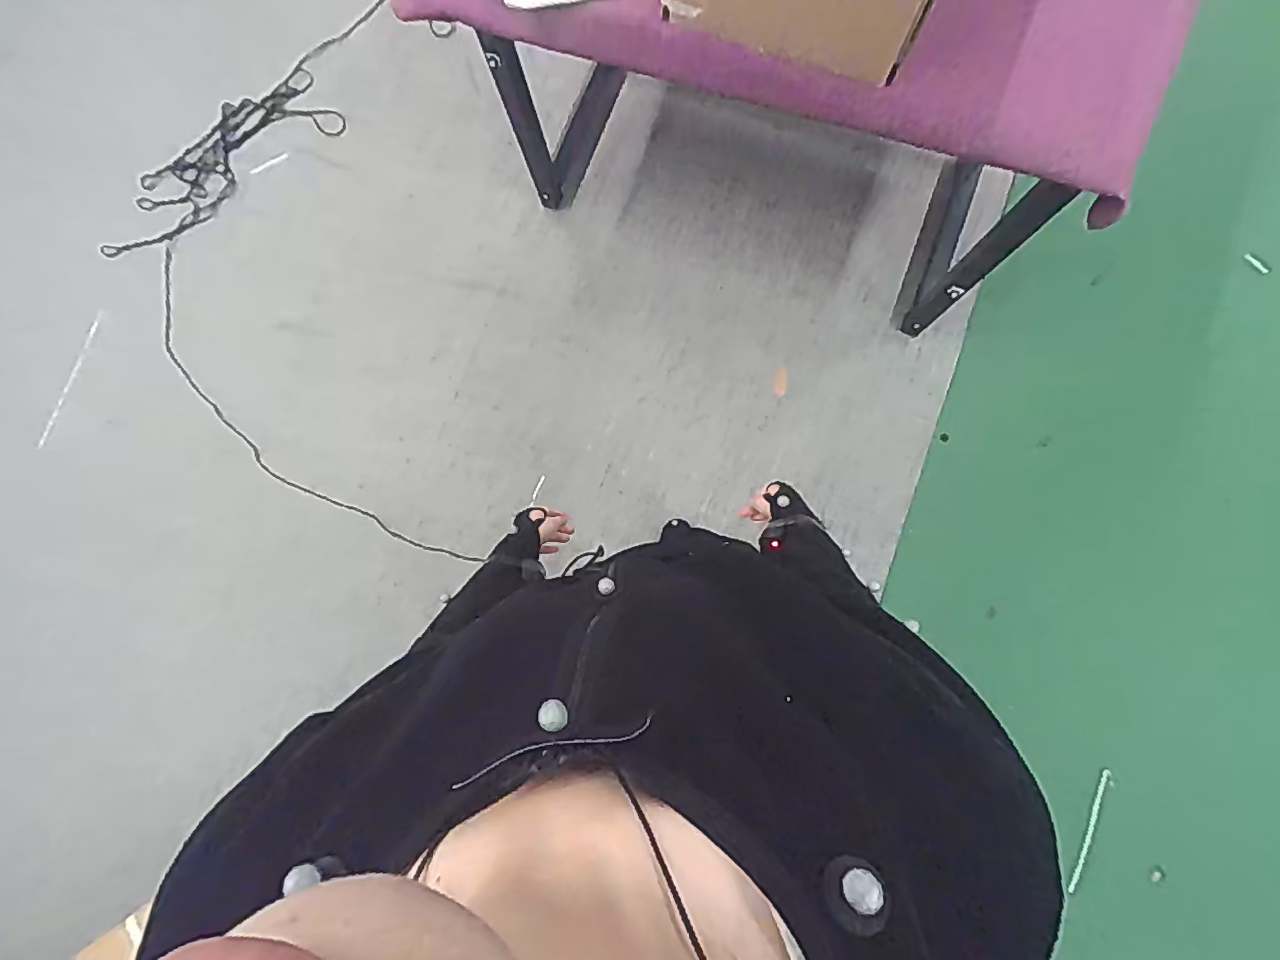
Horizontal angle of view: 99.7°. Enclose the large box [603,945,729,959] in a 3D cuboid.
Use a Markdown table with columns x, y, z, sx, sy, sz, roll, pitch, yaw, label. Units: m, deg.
| x | y | z | sx | sy | sz | roll | pitch | yaw | label |
| --- | --- | --- | --- | --- | --- | --- | --- | --- | --- |
| 0.089 | 1.329 | 1.205 | 0.408 | 0.320 | 0.320 | 6 | 84 | 3 | large box |
